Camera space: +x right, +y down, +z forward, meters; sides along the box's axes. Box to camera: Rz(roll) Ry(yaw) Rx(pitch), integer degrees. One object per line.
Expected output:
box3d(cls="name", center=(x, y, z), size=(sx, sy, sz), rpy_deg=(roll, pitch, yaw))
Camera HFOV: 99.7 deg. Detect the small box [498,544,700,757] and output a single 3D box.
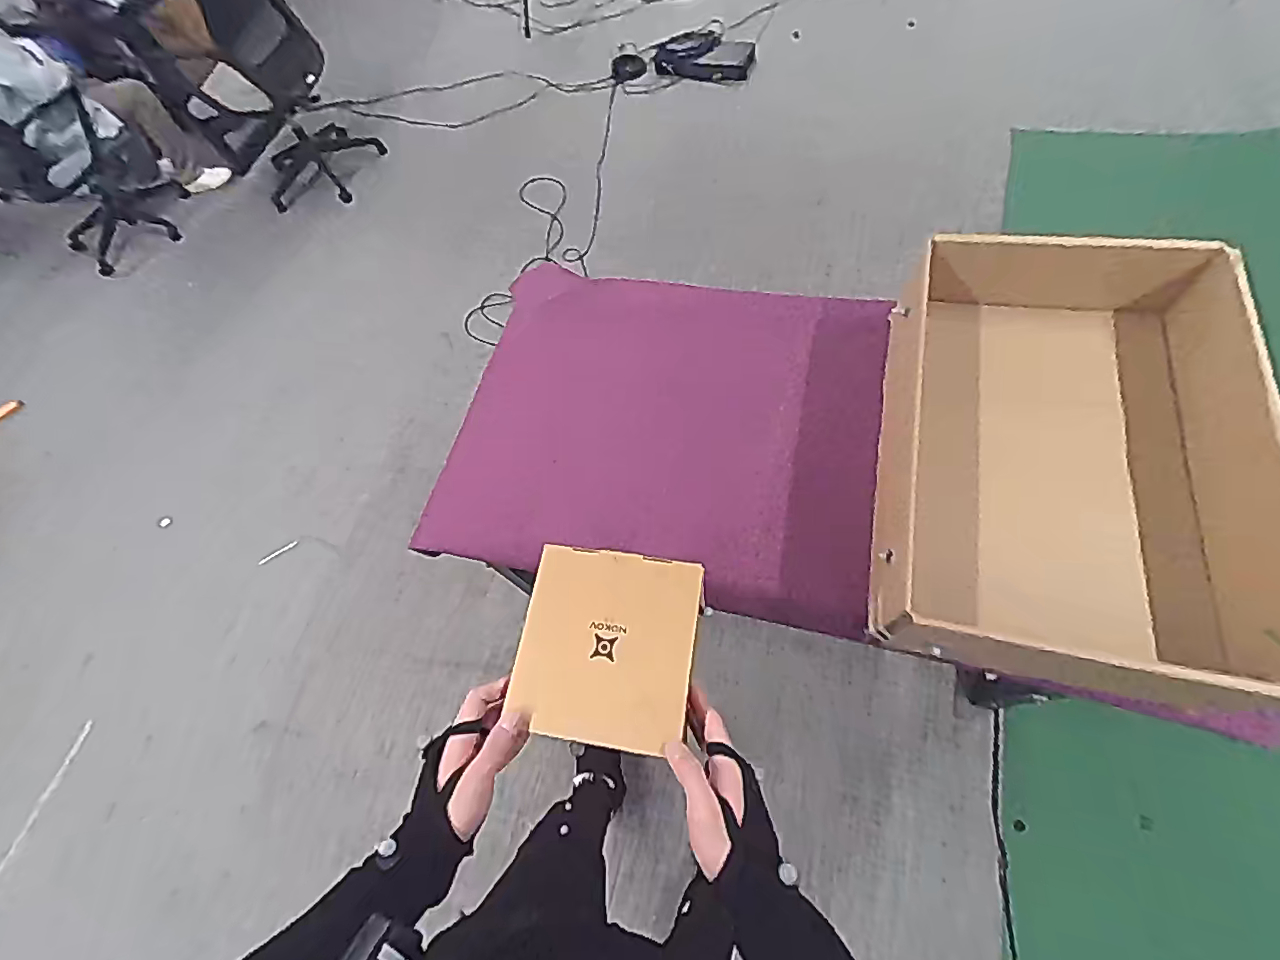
box3d(cls="small box", center=(-0.026, 0.186, 0.578), size=(0.168, 0.176, 0.179), rpy_deg=(6, 63, 9))
